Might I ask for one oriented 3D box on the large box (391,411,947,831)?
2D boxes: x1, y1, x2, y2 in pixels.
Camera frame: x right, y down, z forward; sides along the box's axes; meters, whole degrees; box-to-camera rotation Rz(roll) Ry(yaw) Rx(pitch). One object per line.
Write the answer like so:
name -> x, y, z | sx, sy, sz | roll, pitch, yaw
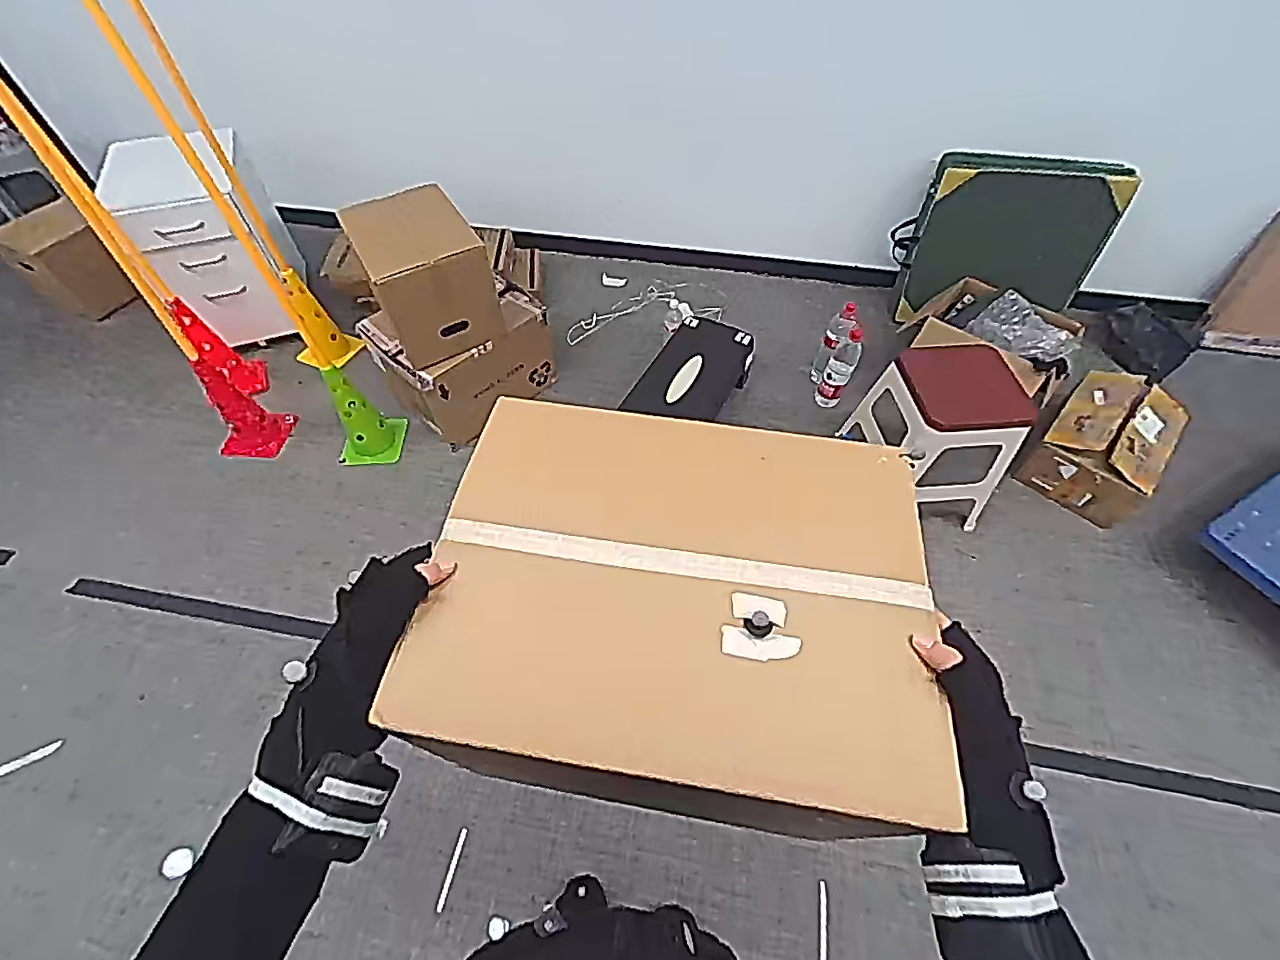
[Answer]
large box -> 0.031, 0.159, 0.583 | 0.408, 0.320, 0.320 | 8, 56, 5
